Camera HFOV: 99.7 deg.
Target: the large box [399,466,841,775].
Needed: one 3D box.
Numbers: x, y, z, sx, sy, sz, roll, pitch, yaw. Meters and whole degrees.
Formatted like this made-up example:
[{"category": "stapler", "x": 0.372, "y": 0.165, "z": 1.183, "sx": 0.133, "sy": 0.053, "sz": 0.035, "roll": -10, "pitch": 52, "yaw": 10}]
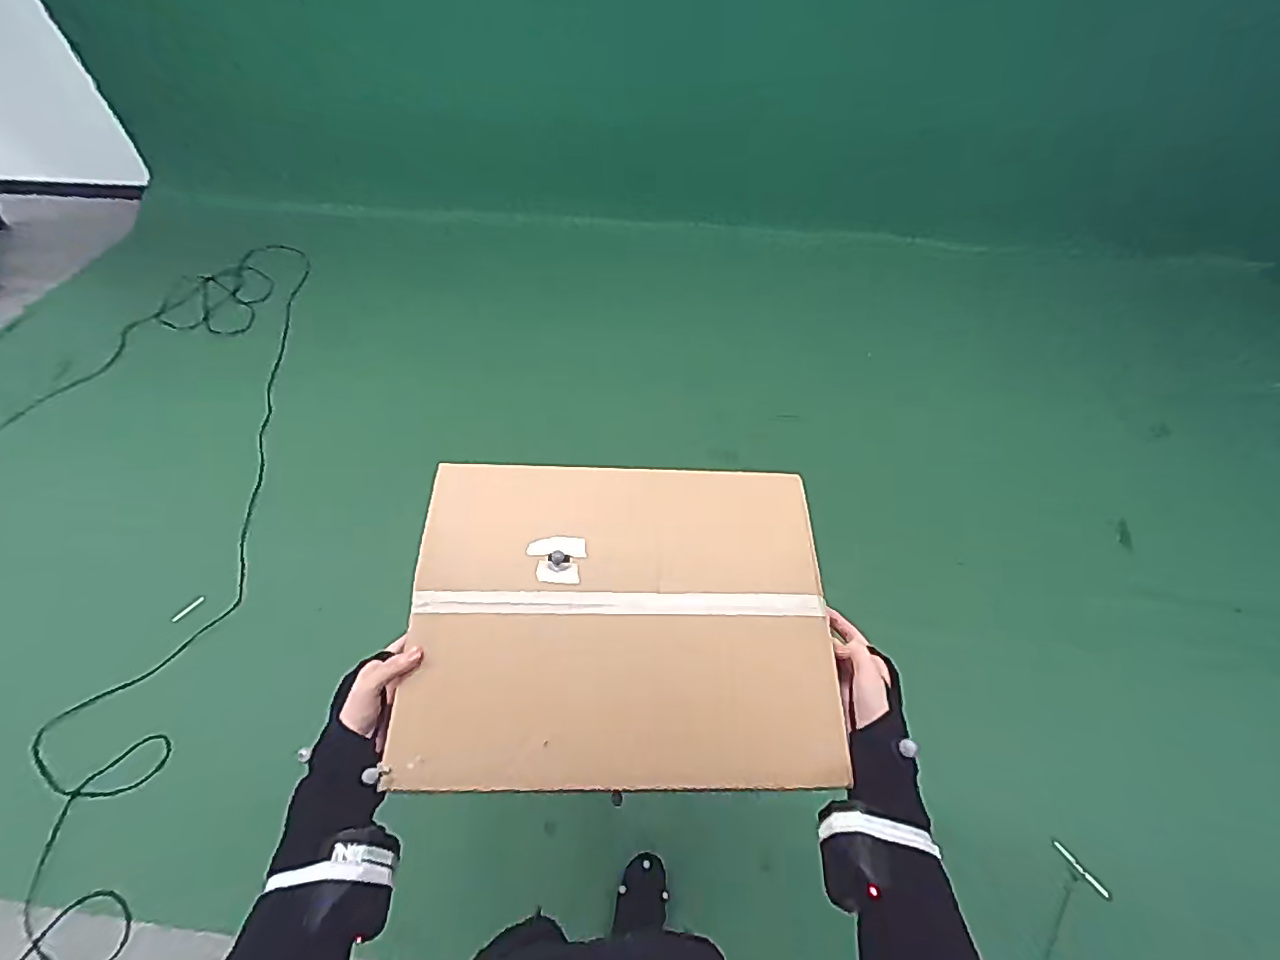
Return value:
[{"category": "large box", "x": -0.022, "y": 0.189, "z": 0.681, "sx": 0.408, "sy": 0.320, "sz": 0.320, "roll": 1, "pitch": 61, "yaw": -3}]
